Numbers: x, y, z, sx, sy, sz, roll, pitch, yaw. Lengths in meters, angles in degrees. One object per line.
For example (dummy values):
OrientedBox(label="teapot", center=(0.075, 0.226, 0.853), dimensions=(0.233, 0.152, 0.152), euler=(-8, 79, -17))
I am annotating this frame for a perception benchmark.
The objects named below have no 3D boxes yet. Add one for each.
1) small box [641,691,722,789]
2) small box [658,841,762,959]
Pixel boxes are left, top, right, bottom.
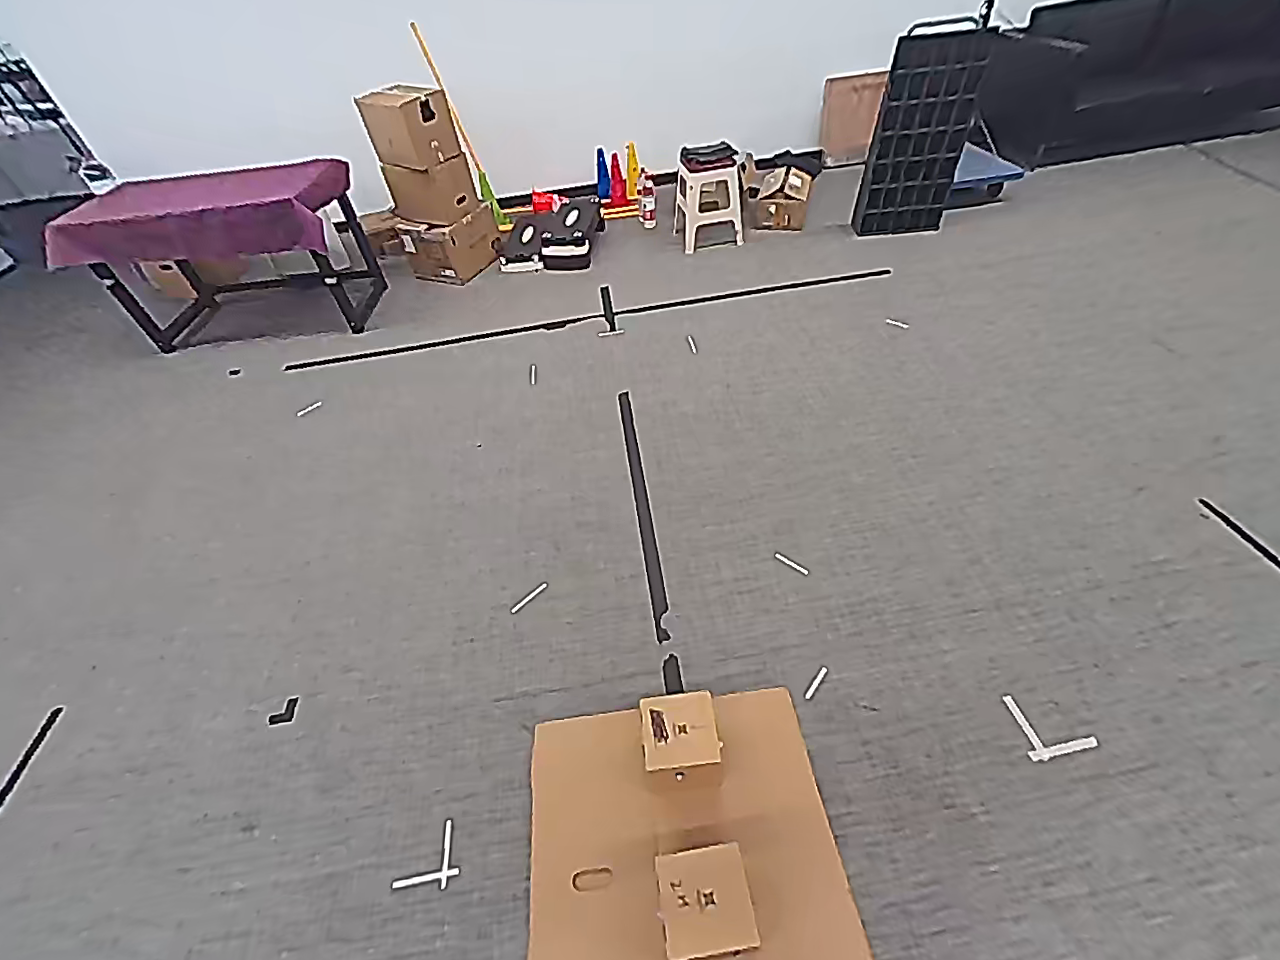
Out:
OrientedBox(label="small box", center=(0.104, 0.645, 1.335), dimensions=(0.179, 0.176, 0.168), euler=(-7, 45, 1))
OrientedBox(label="small box", center=(0.140, 0.867, 1.111), dimensions=(0.179, 0.176, 0.168), euler=(-10, 45, 0))
